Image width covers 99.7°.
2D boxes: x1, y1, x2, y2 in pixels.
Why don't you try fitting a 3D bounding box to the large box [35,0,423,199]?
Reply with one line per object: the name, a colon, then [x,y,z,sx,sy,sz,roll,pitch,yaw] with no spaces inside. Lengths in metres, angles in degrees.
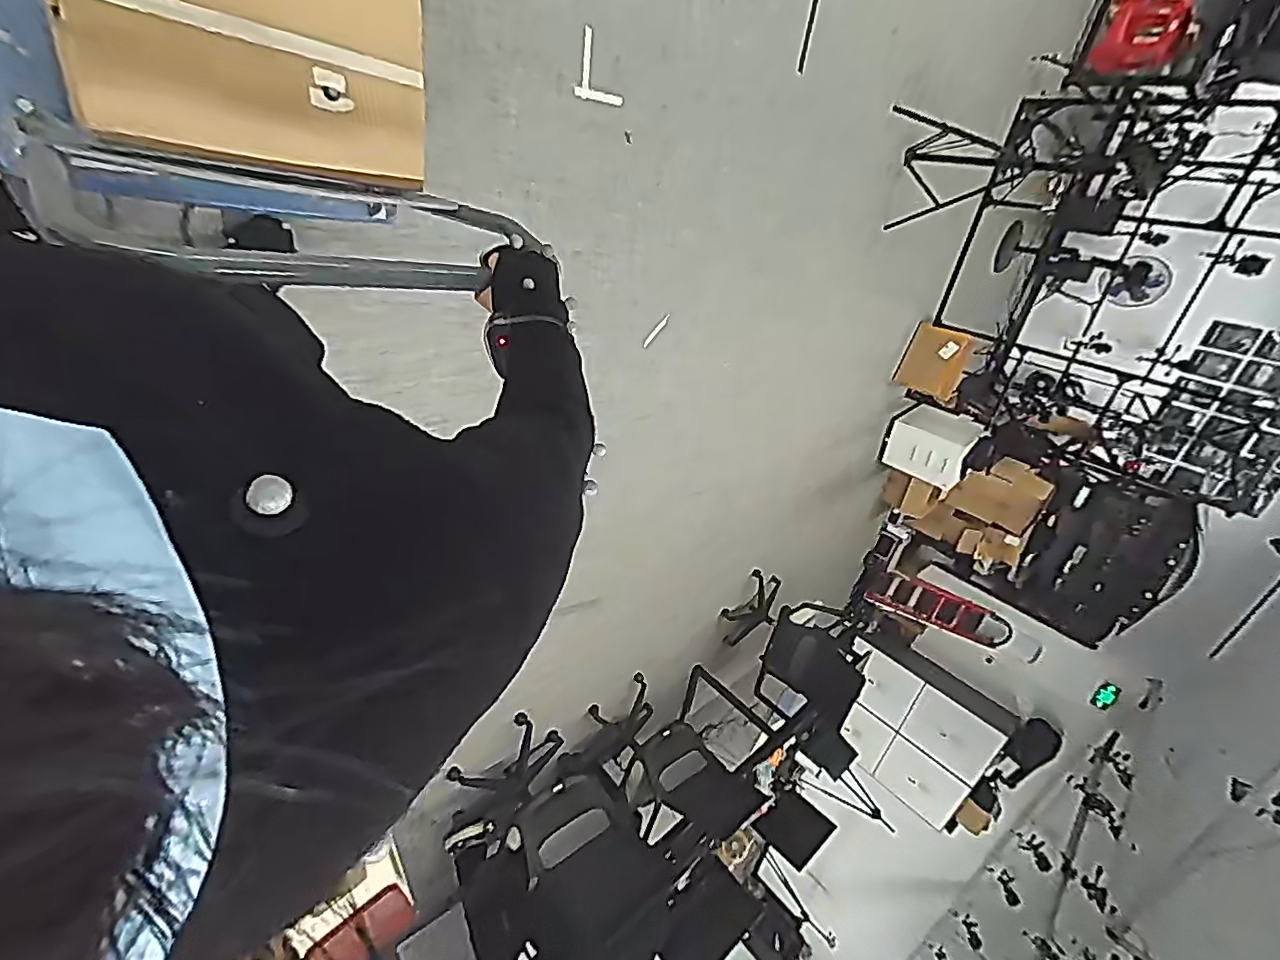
large box: [-0.583,-0.622,0.790,0.408,0.320,0.320,-17,128,-43]
